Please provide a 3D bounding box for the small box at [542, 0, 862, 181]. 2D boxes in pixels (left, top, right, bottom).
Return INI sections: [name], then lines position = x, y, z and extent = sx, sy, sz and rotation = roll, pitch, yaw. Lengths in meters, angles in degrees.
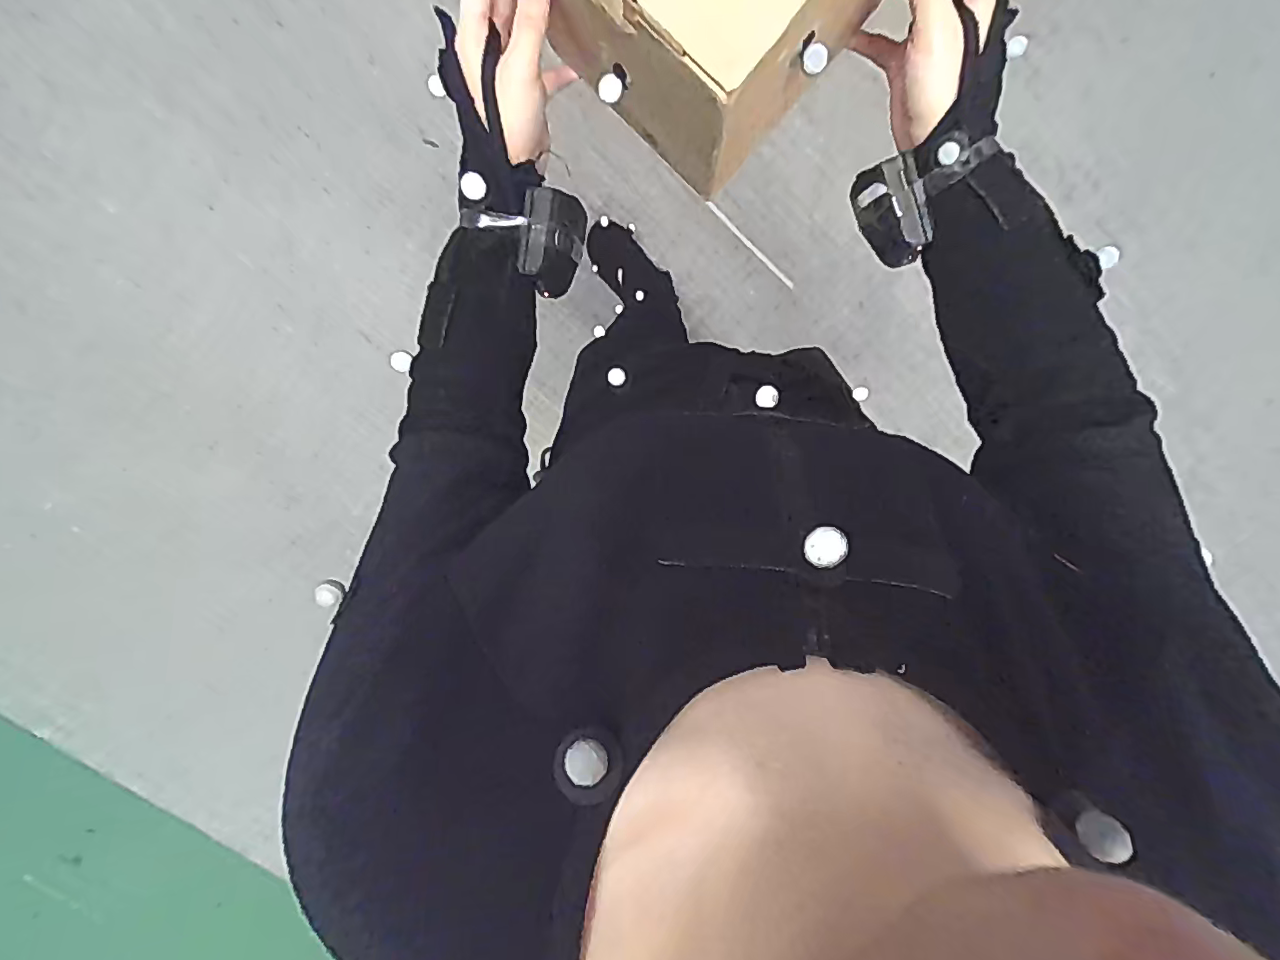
[small box]
position = 0.042, -0.320, 0.318
extent = 0.168, 0.176, 0.179
rotation = 42, 103, -5
